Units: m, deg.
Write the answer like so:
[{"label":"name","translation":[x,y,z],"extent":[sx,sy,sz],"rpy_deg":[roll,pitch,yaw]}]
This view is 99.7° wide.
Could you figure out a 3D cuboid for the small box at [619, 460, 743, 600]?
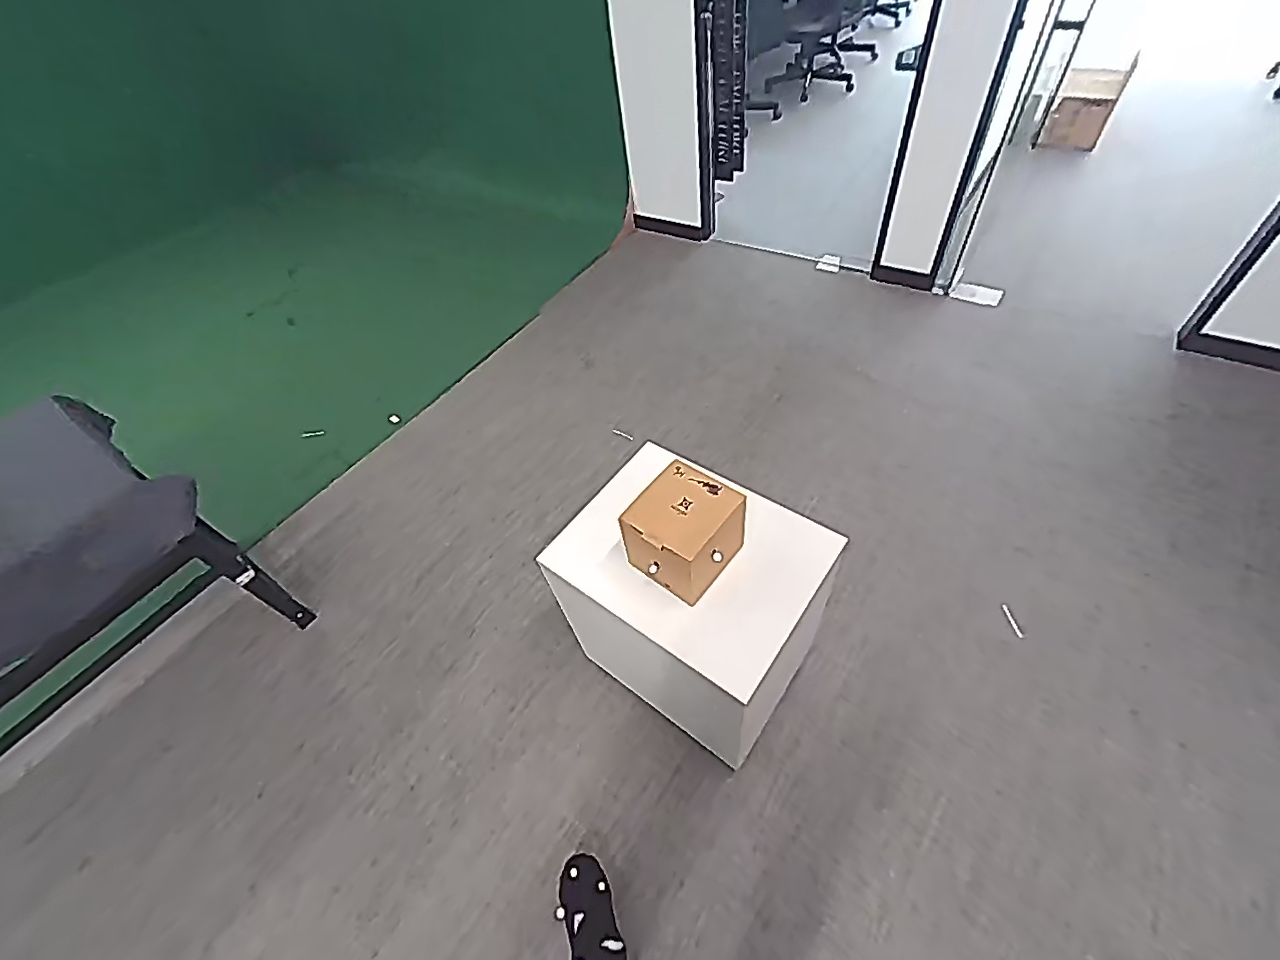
[{"label":"small box","translation":[0.086,0.099,1.045],"extent":[0.168,0.176,0.179],"rpy_deg":[27,59,27]}]
